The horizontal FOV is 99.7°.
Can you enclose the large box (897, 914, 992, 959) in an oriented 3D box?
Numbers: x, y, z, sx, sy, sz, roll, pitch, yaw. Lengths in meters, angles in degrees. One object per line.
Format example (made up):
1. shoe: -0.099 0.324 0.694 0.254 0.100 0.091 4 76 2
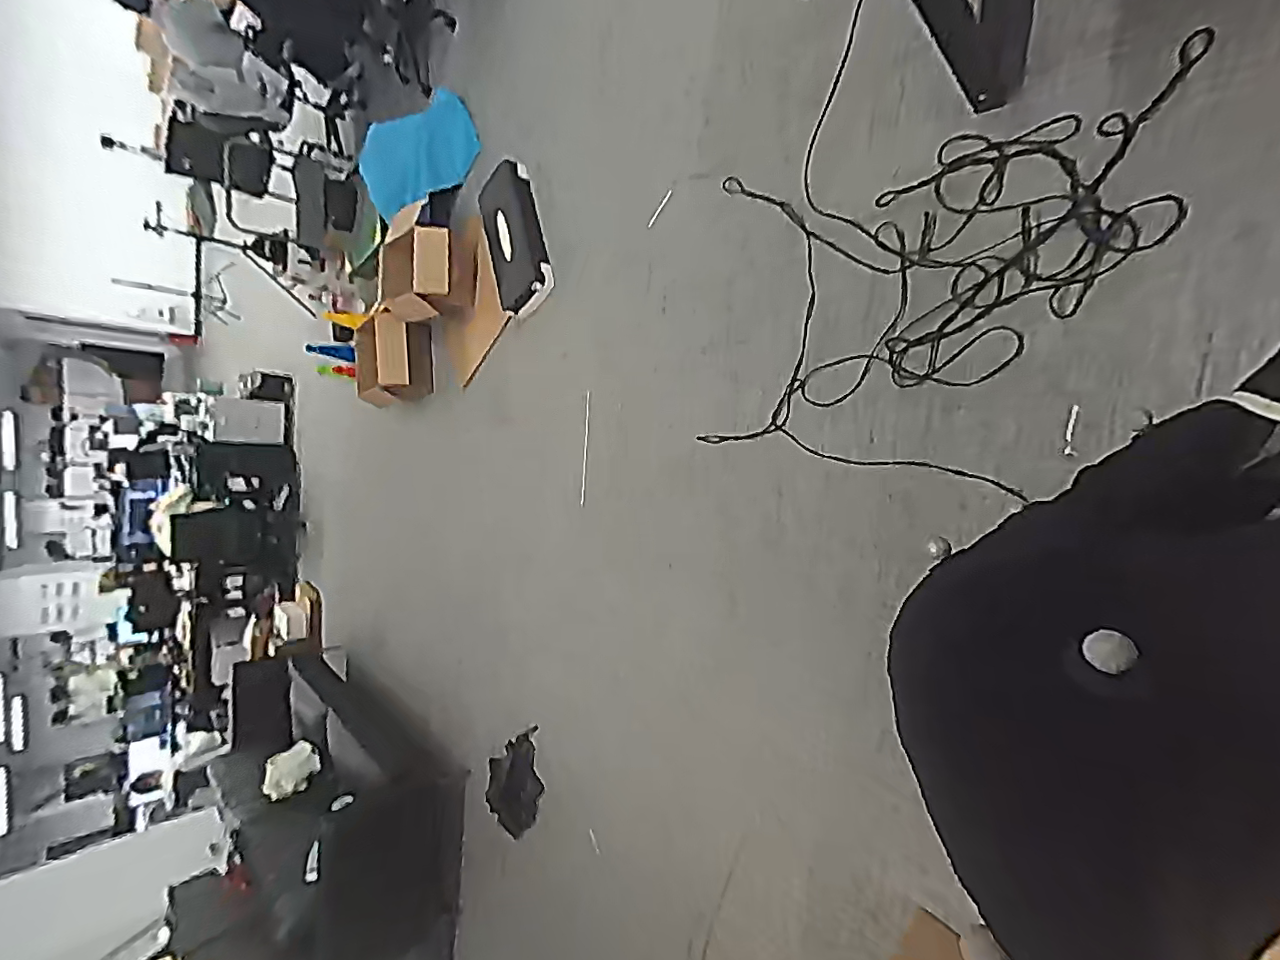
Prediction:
1. large box: 0.694 1.223 1.077 0.408 0.320 0.320 19 103 45
